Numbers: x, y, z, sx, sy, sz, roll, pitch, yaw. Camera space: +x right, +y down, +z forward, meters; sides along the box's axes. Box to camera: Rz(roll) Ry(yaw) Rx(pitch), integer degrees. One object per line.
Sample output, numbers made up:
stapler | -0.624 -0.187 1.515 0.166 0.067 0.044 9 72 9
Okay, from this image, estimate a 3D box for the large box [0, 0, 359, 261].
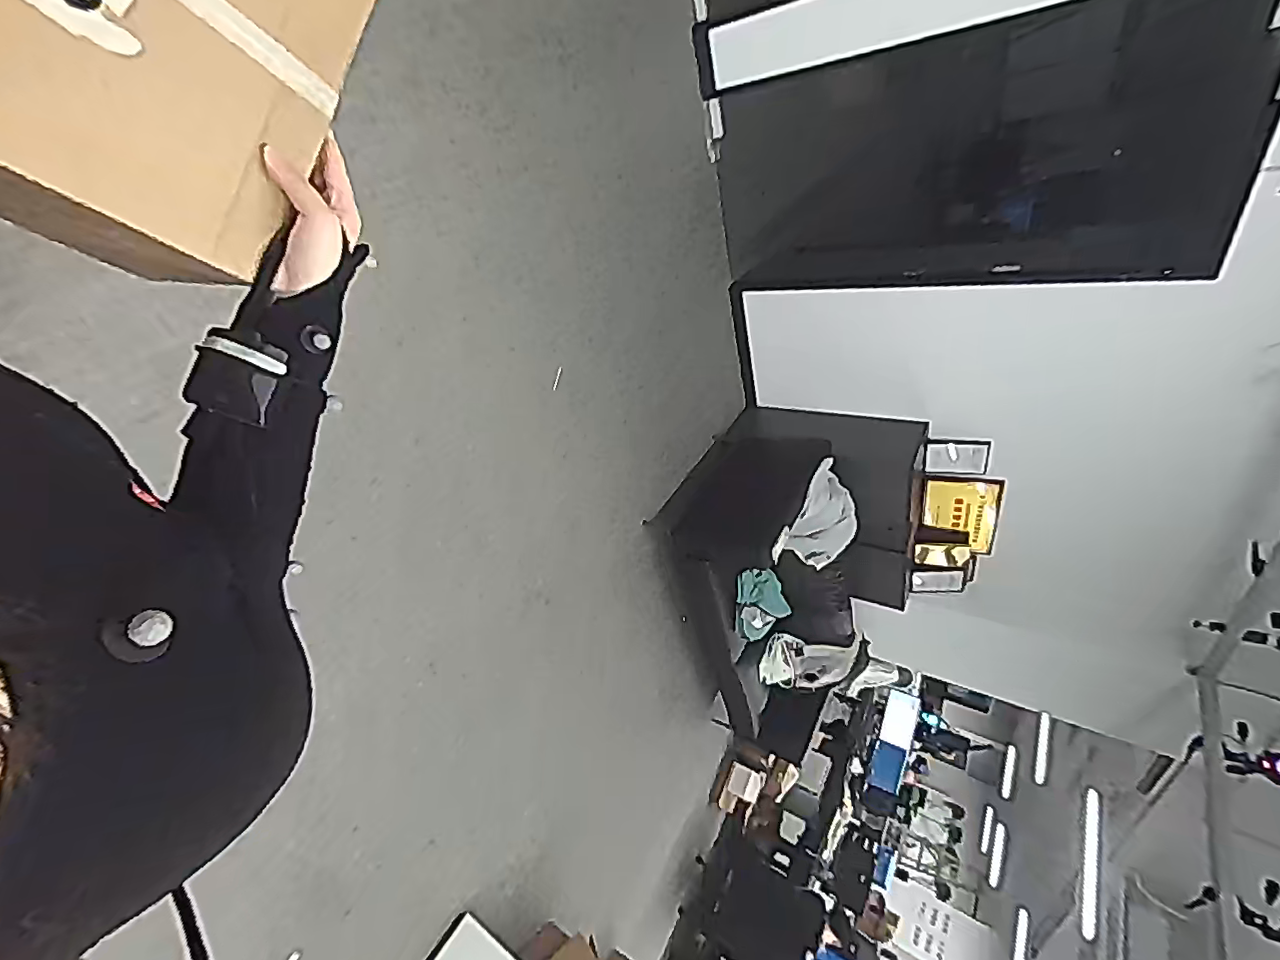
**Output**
large box | -0.477 -0.389 0.353 0.408 0.320 0.320 24 84 -56
